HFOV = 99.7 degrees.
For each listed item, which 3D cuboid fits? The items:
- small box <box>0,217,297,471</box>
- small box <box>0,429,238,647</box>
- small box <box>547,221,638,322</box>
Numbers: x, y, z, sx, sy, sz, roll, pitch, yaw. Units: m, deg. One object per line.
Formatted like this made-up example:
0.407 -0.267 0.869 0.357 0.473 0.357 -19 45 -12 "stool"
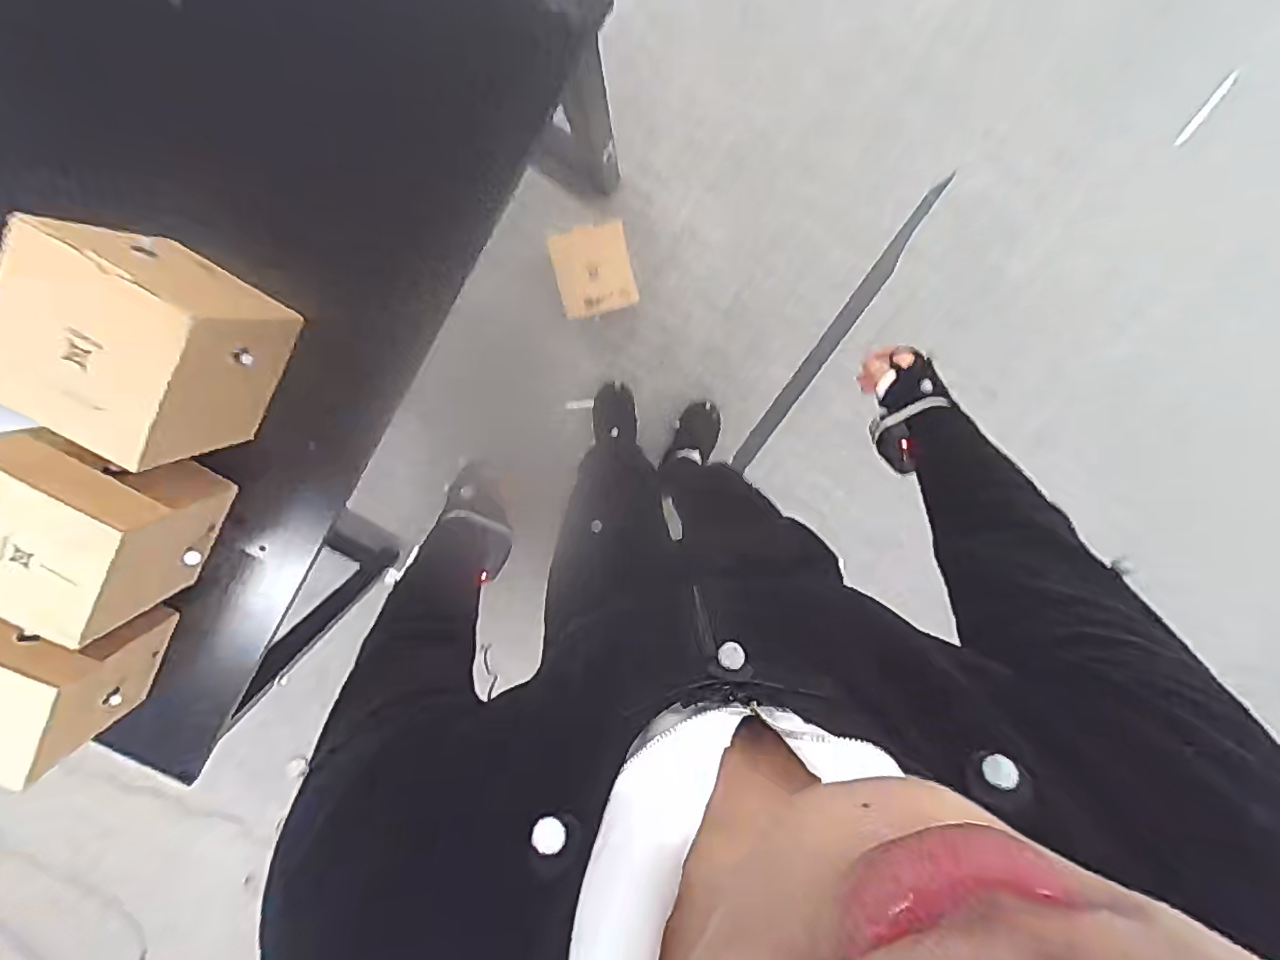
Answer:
-0.511 -0.141 0.577 0.168 0.176 0.179 32 104 -7 "small box"
-0.631 0.051 0.628 0.179 0.176 0.168 32 103 -9 "small box"
-0.102 -0.468 1.240 0.168 0.176 0.179 -13 106 4 "small box"
